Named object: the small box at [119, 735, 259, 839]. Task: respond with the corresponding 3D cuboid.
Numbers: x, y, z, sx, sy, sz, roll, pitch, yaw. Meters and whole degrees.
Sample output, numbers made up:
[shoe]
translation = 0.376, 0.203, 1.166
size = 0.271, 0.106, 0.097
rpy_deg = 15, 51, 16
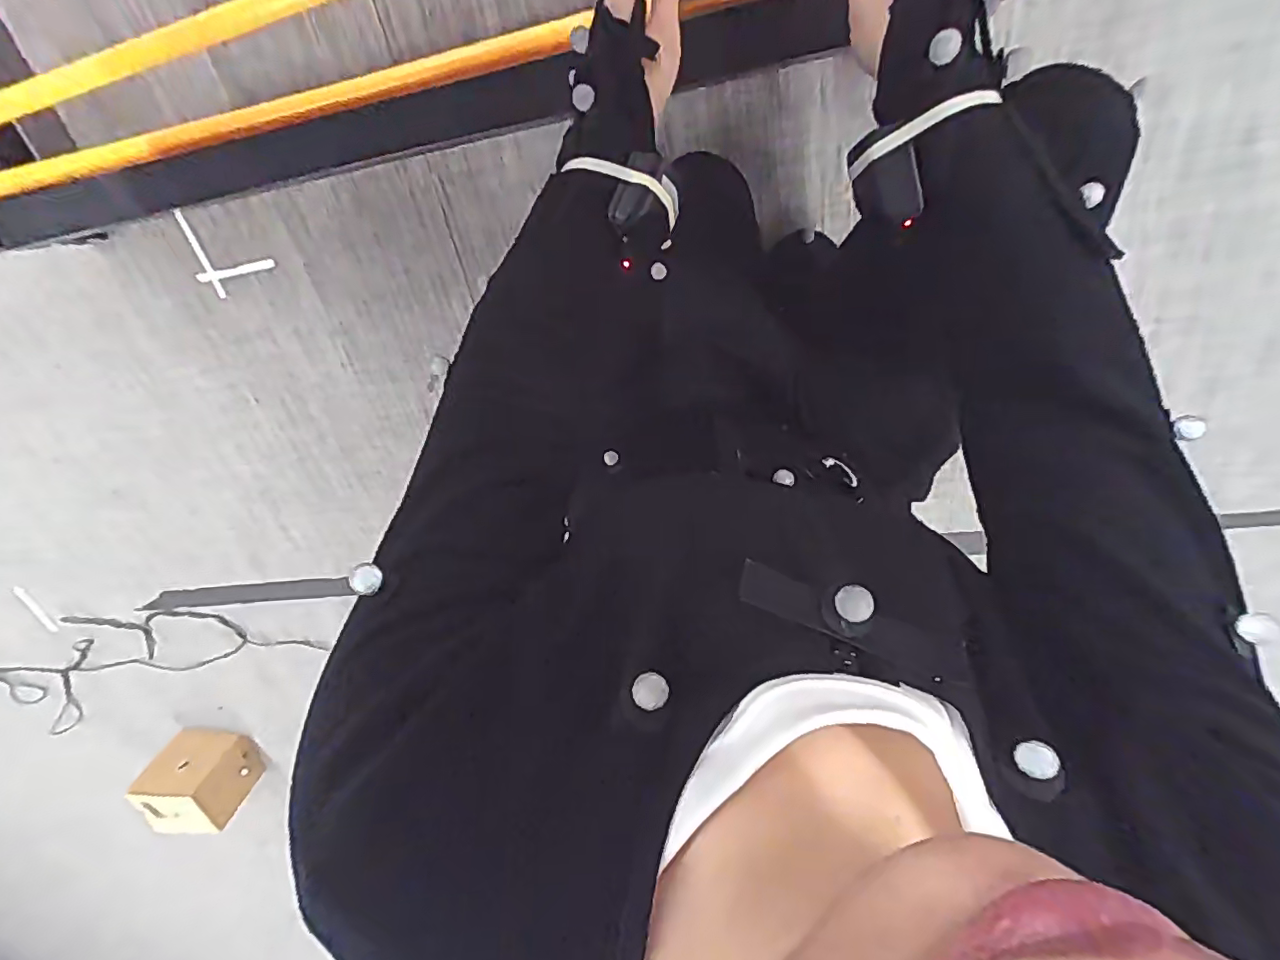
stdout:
[small box]
translation = -1.121, 0.766, 1.360
size = 0.179, 0.176, 0.168
rpy_deg = -1, 120, 5
